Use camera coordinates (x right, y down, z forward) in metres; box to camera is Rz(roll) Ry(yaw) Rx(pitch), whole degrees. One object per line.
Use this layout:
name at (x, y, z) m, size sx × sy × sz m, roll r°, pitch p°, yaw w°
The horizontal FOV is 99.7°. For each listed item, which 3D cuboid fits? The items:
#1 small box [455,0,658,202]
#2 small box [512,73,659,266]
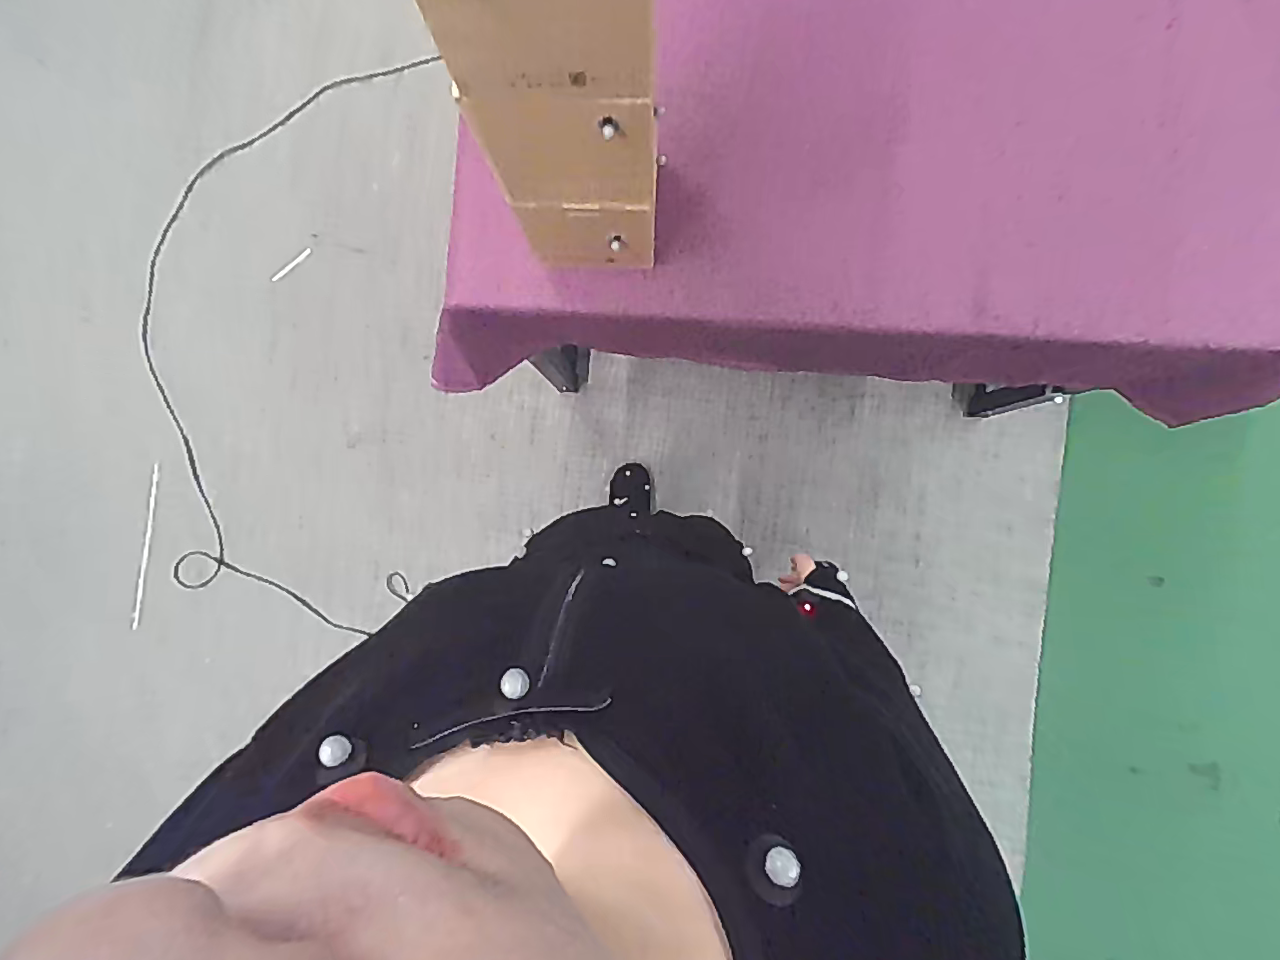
small box at (-0.071, -0.406, 0.551) m, size 0.179 × 0.176 × 0.168 m, roll 1°, pitch 88°, yaw 0°
small box at (-0.062, -0.400, 0.713) m, size 0.168 × 0.176 × 0.179 m, roll 3°, pitch 88°, yaw 1°
